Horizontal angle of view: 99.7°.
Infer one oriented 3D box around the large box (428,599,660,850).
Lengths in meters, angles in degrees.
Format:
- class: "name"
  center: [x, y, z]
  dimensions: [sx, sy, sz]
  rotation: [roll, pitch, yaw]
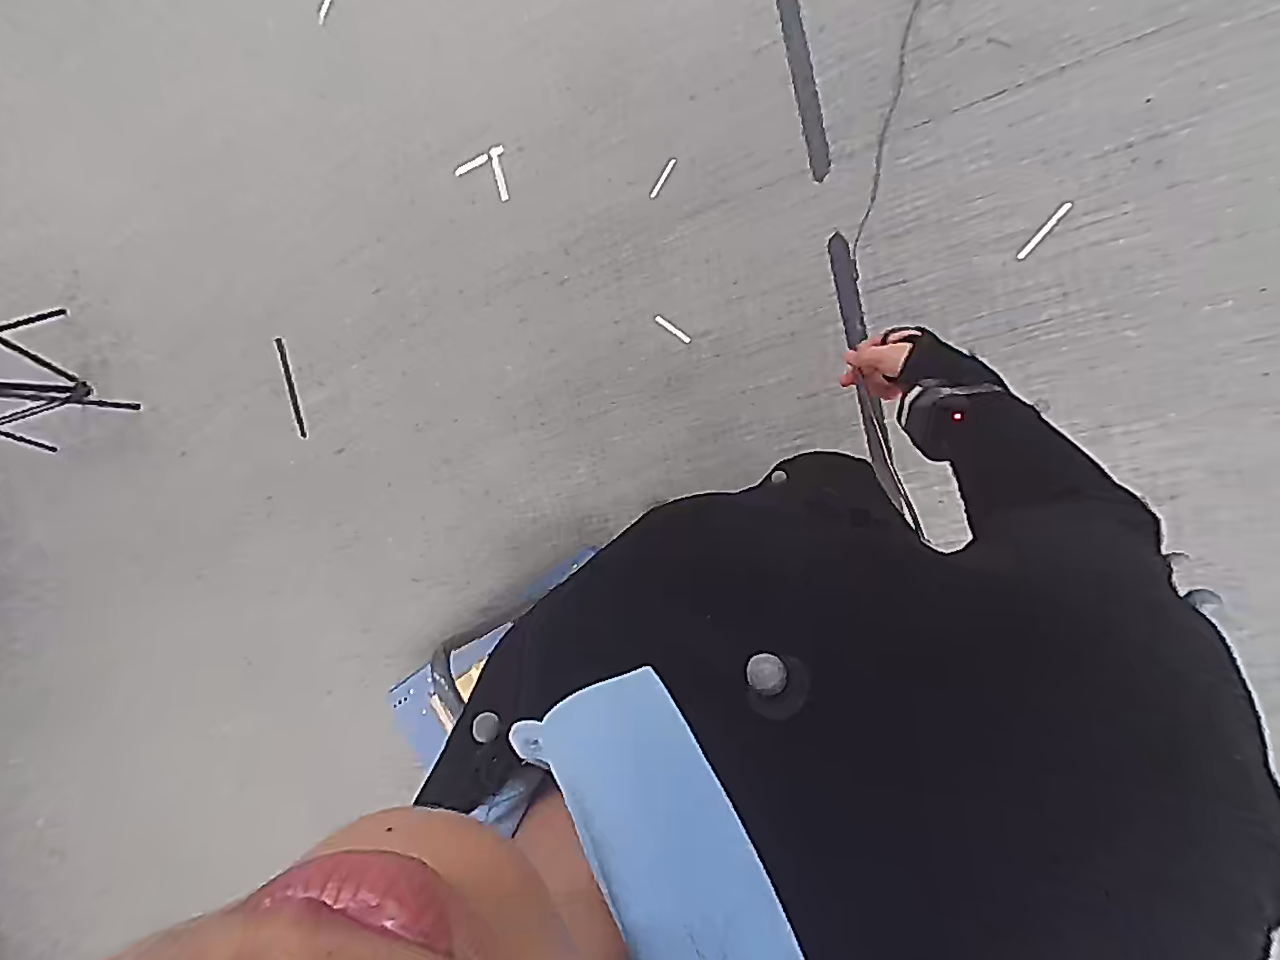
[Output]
- class: "large box"
  center: [-0.216, 0.568, 1.318]
  dimensions: [0.320, 0.320, 0.408]
  rotation: [-36, 82, 17]
